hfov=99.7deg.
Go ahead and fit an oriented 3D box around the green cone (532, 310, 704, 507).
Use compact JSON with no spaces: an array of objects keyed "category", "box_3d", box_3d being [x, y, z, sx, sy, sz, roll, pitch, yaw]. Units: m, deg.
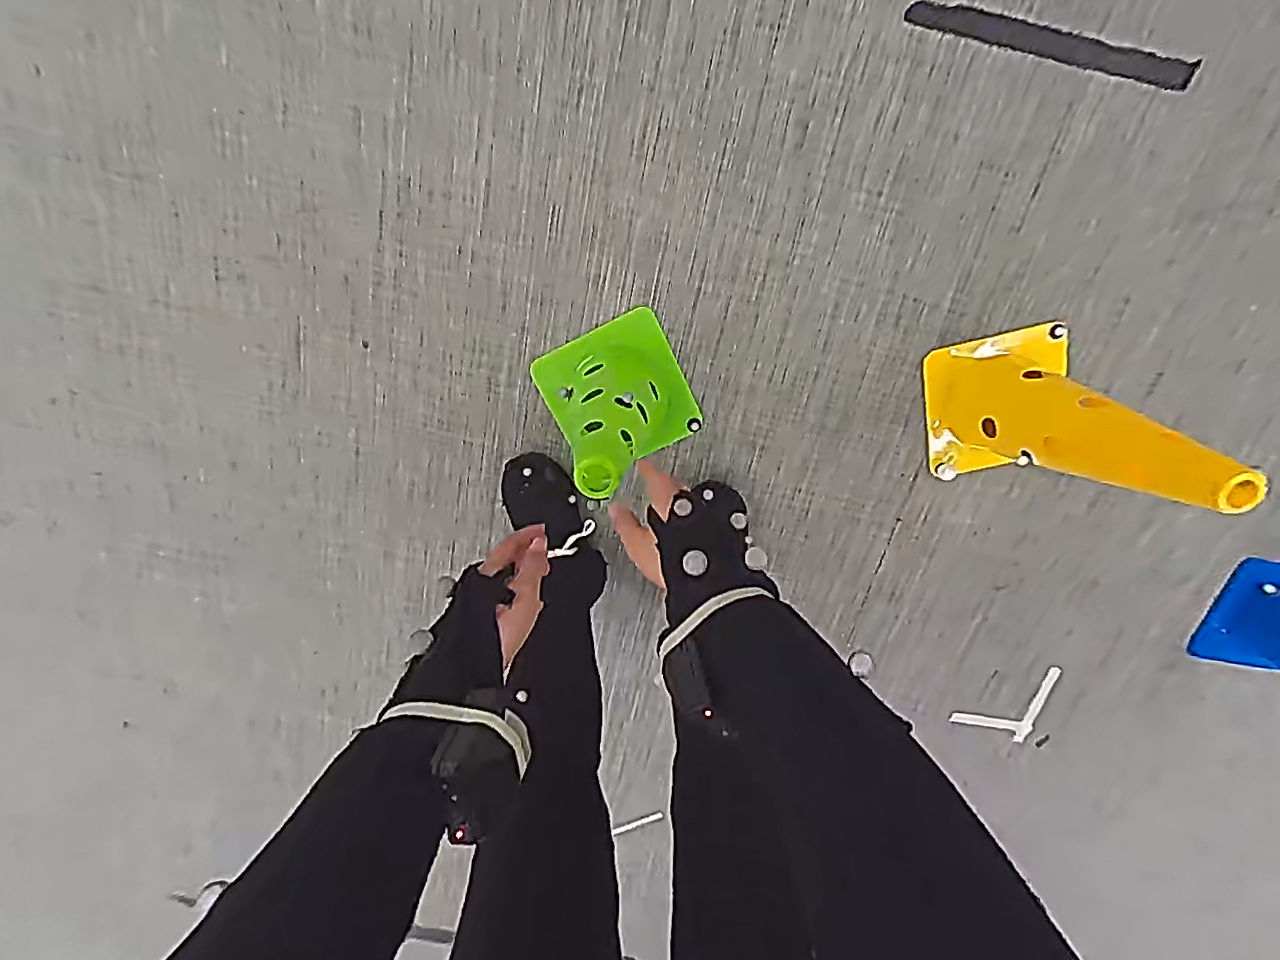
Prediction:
[{"category":"green cone","box_3d":[-0.035,-0.061,0.629,0.202,0.368,0.200,-25,107,11]}]
